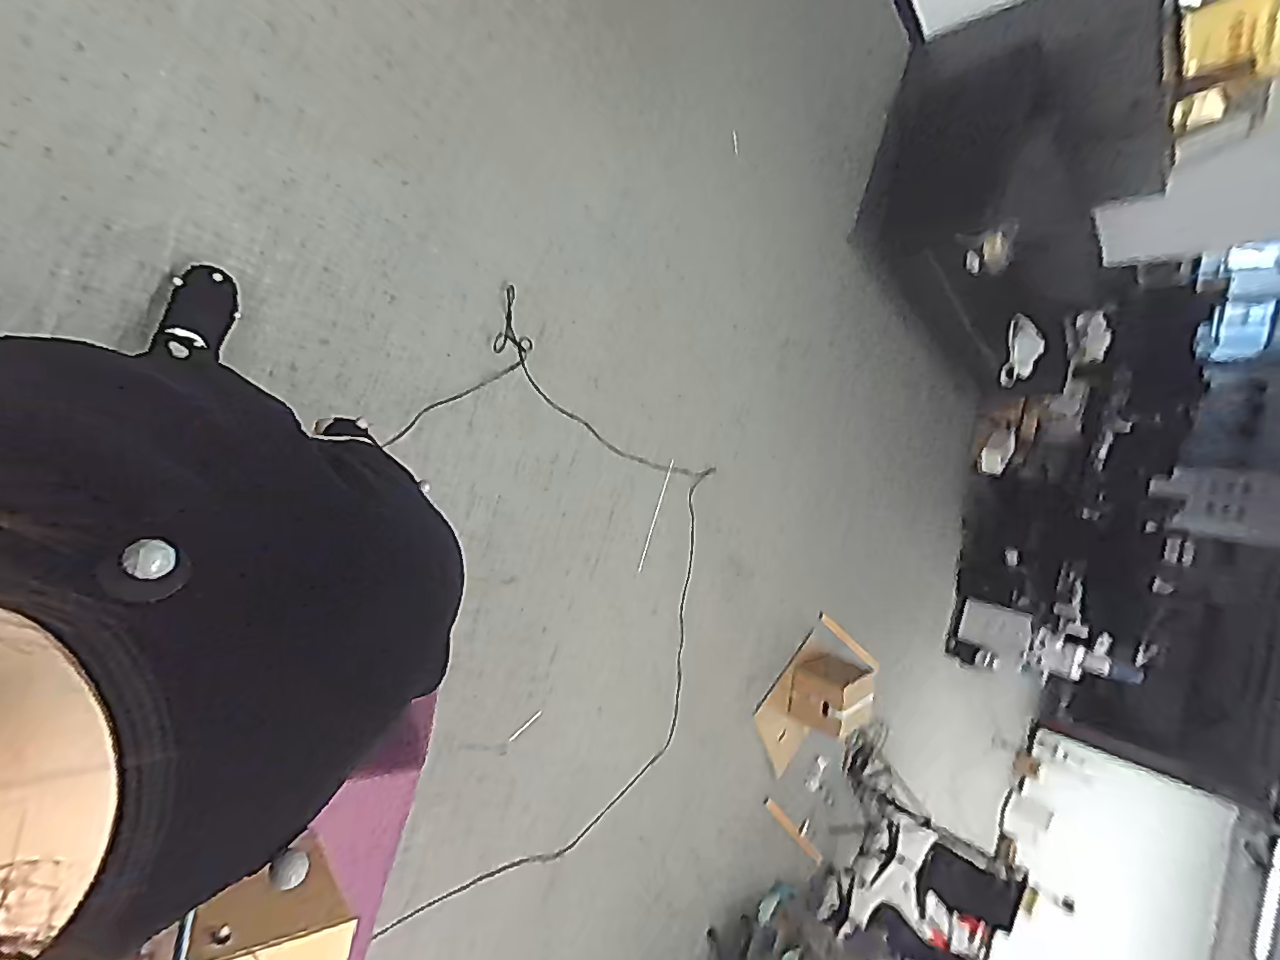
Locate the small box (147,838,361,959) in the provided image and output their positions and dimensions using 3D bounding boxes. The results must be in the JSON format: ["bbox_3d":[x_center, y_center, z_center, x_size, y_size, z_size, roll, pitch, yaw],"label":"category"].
[{"bbox_3d":[-0.474,0.578,0.657,0.179,0.176,0.168,16,87,-43],"label":"small box"}]
